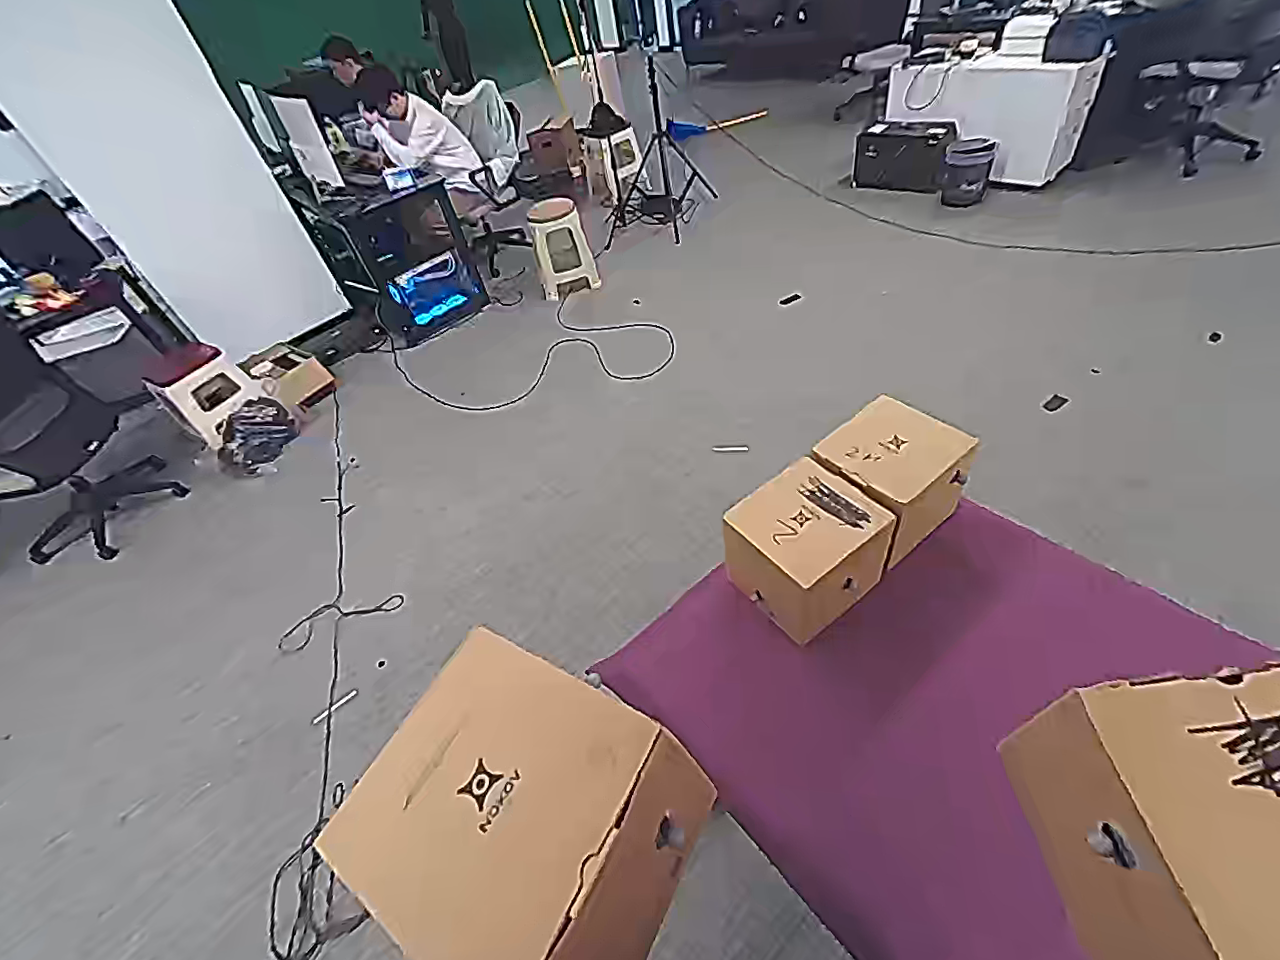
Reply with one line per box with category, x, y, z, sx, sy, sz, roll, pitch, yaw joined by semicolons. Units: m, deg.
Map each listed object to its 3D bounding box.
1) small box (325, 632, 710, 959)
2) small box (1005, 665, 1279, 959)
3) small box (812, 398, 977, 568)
small box;-0.068;0.245;0.391;0.179;0.176;0.168;14;55;32
small box;0.363;0.229;0.327;0.168;0.176;0.179;-11;52;8
small box;0.394;0.005;0.873;0.179;0.176;0.168;-34;48;-18
